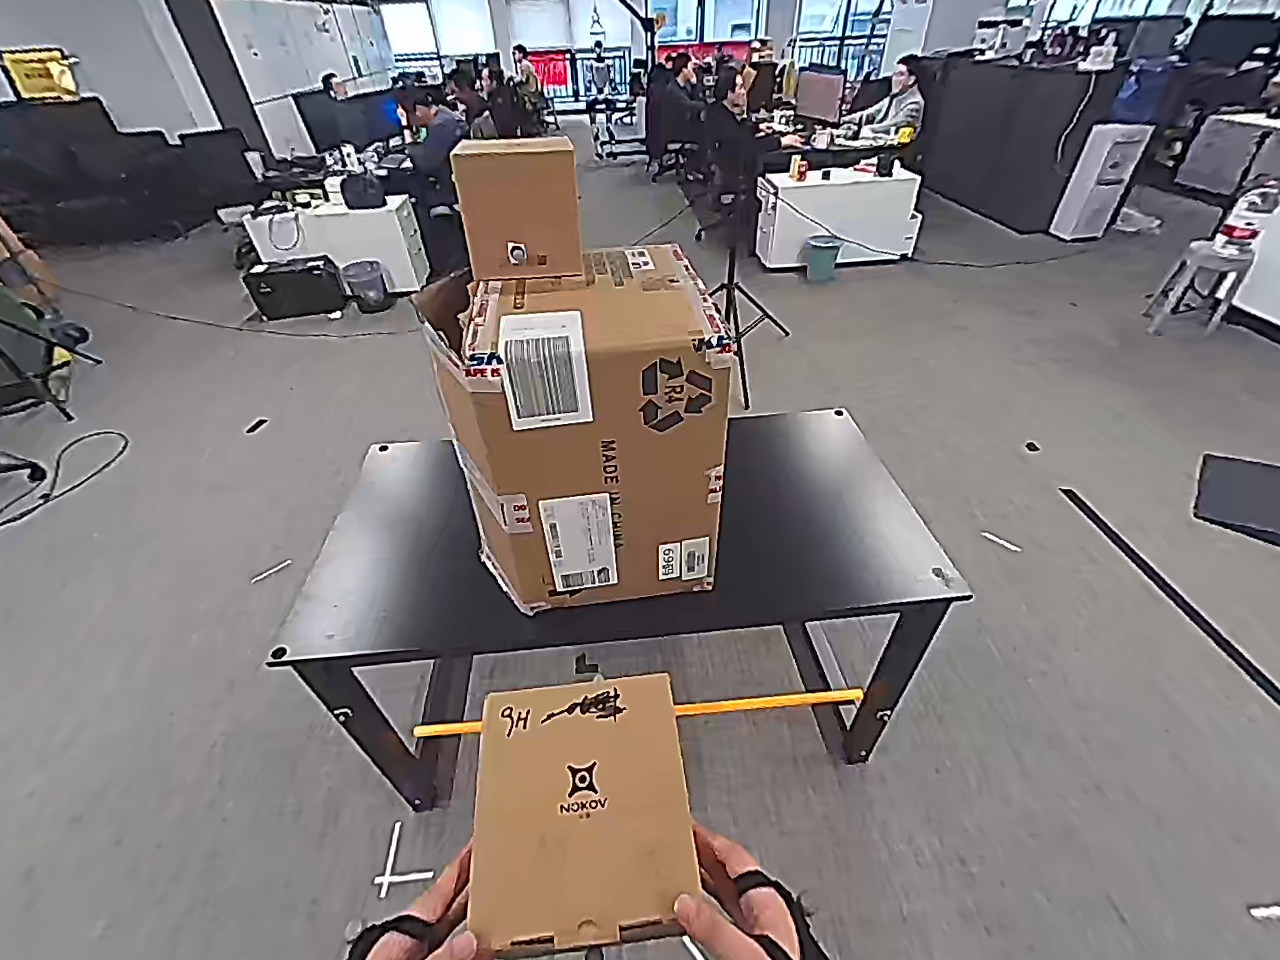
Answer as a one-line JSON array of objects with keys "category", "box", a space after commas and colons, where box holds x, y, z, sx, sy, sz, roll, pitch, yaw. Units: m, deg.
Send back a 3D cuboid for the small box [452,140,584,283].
[{"category": "small box", "box": [-0.180, -0.415, 0.832, 0.168, 0.176, 0.179, -8, 38, -7]}]
